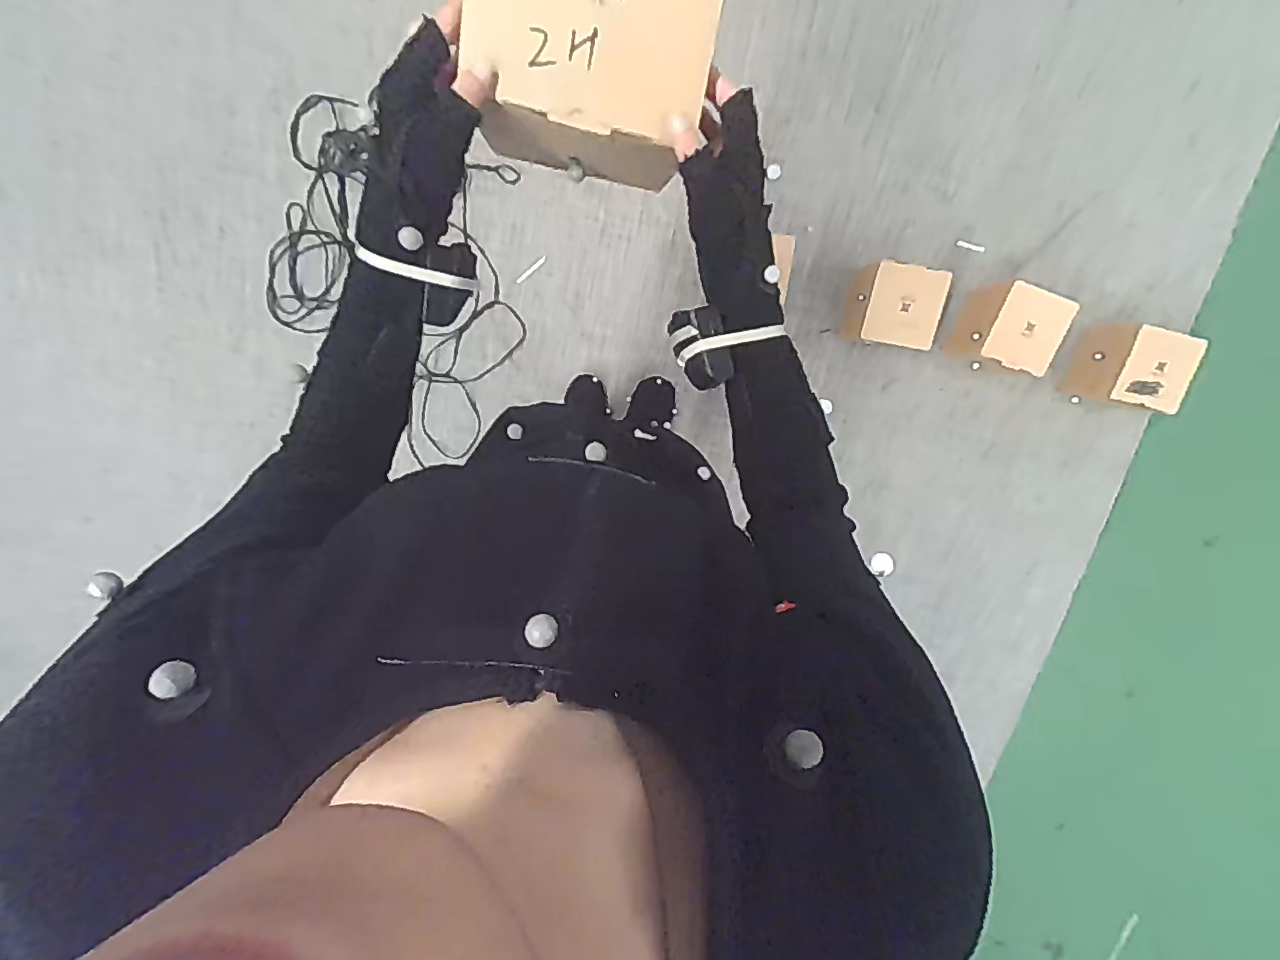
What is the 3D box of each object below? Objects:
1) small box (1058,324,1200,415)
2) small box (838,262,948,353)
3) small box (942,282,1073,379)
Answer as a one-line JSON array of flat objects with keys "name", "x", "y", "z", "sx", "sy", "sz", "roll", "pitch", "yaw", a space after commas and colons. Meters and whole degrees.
[{"name": "small box", "x": 1.183, "y": -0.271, "z": 1.327, "sx": 0.168, "sy": 0.176, "sz": 0.179, "roll": 14, "pitch": 102, "yaw": -3}, {"name": "small box", "x": 0.595, "y": -0.408, "z": 1.299, "sx": 0.168, "sy": 0.176, "sz": 0.179, "roll": 10, "pitch": 105, "yaw": 0}, {"name": "small box", "x": 0.876, "y": -0.358, "z": 1.309, "sx": 0.168, "sy": 0.176, "sz": 0.179, "roll": 18, "pitch": 103, "yaw": -4}]
